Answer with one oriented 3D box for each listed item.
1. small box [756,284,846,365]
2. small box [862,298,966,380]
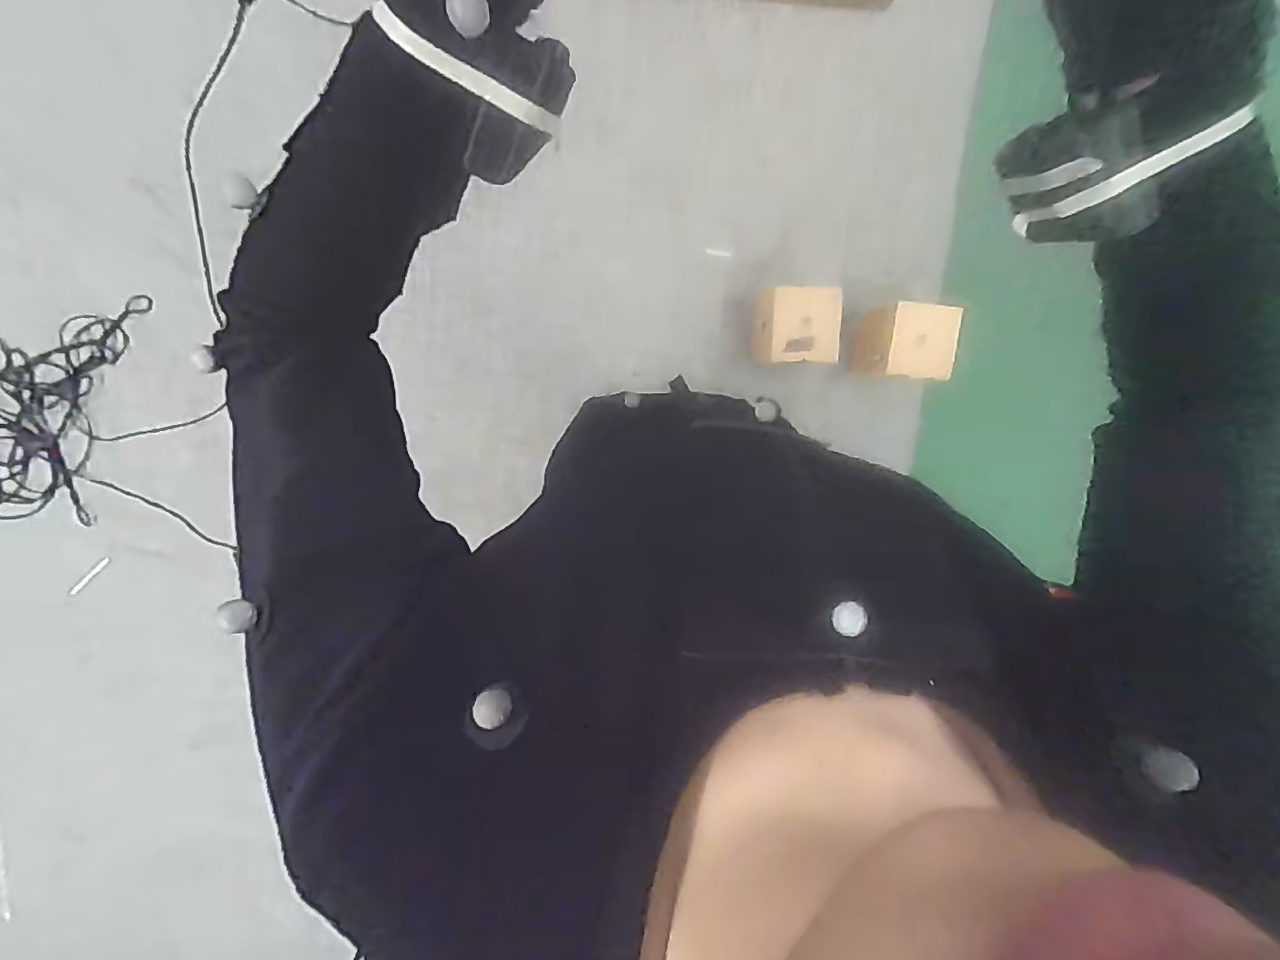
[{"bbox_3d":[0.393,-0.381,1.349,0.168,0.176,0.179,1,98,-4],"label":"small box"},{"bbox_3d":[0.684,-0.351,1.371,0.168,0.176,0.179,5,99,-3],"label":"small box"}]
